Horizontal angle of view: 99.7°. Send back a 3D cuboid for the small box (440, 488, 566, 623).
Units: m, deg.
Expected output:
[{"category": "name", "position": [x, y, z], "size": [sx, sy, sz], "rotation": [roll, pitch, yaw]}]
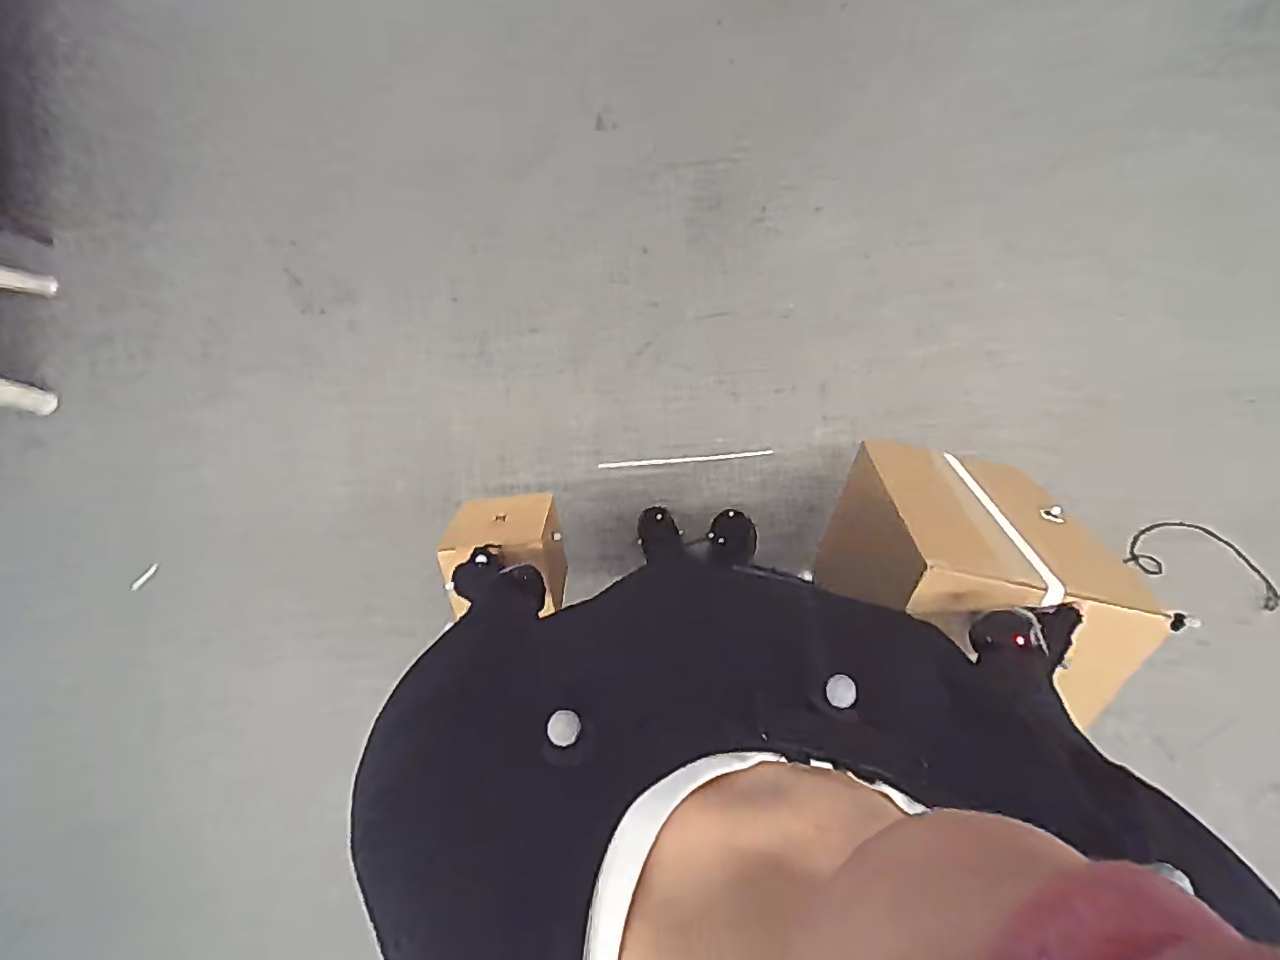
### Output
[{"category": "small box", "position": [-0.227, 0.129, 0.949], "size": [0.168, 0.179, 0.176], "rotation": [-4, 115, 2]}]
